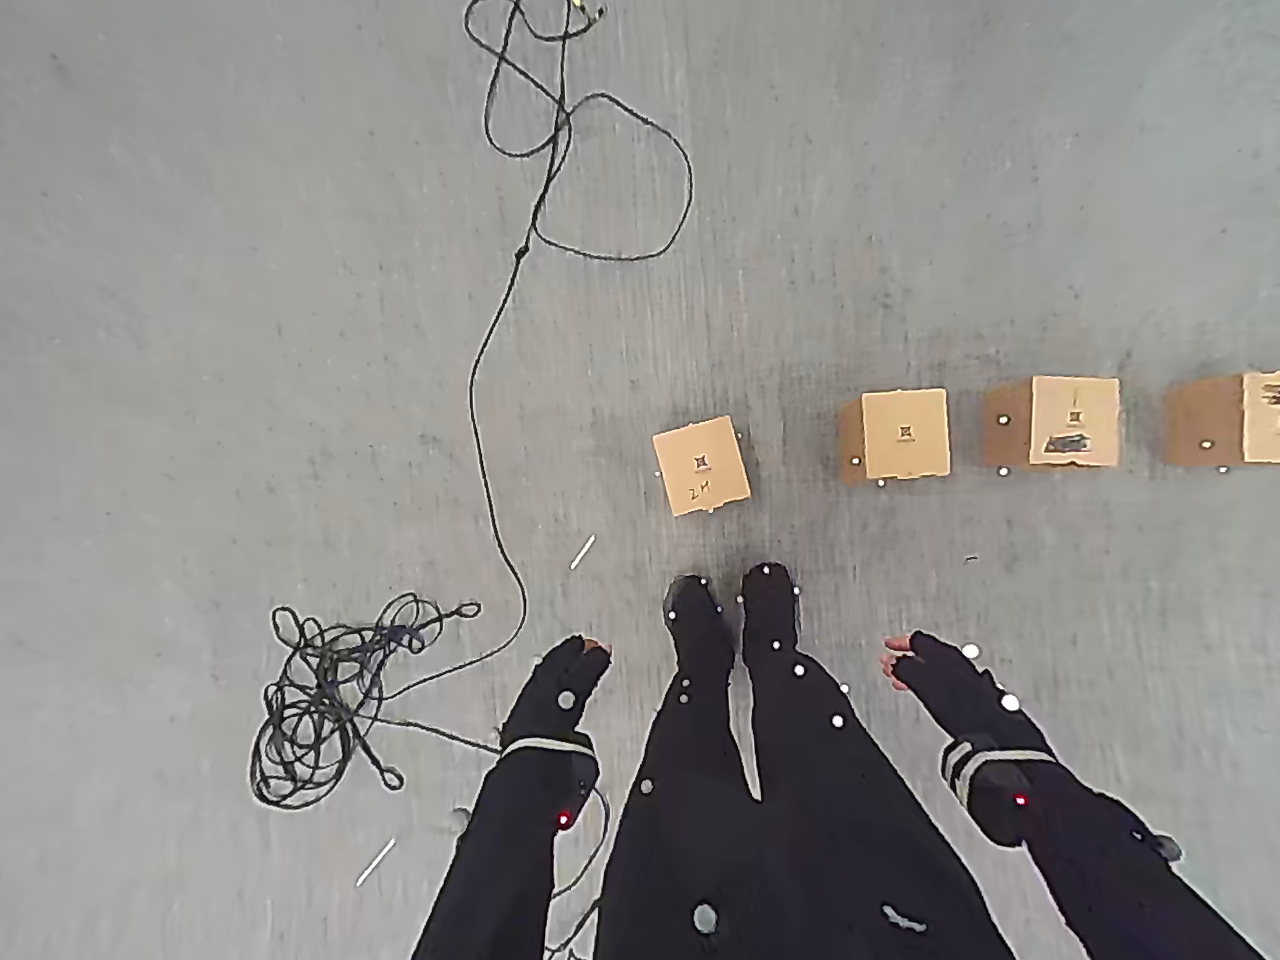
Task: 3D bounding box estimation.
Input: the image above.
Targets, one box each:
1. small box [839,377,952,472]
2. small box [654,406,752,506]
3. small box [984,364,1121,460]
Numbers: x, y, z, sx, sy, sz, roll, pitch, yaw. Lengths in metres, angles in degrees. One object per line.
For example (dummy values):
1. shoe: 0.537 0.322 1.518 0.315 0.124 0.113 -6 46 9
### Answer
1. small box: 0.532 -0.111 1.148 0.168 0.176 0.179 -4 89 4
2. small box: 0.132 -0.046 1.177 0.168 0.176 0.179 -15 88 5
3. small box: 0.845 -0.135 1.124 0.168 0.176 0.179 3 88 4
